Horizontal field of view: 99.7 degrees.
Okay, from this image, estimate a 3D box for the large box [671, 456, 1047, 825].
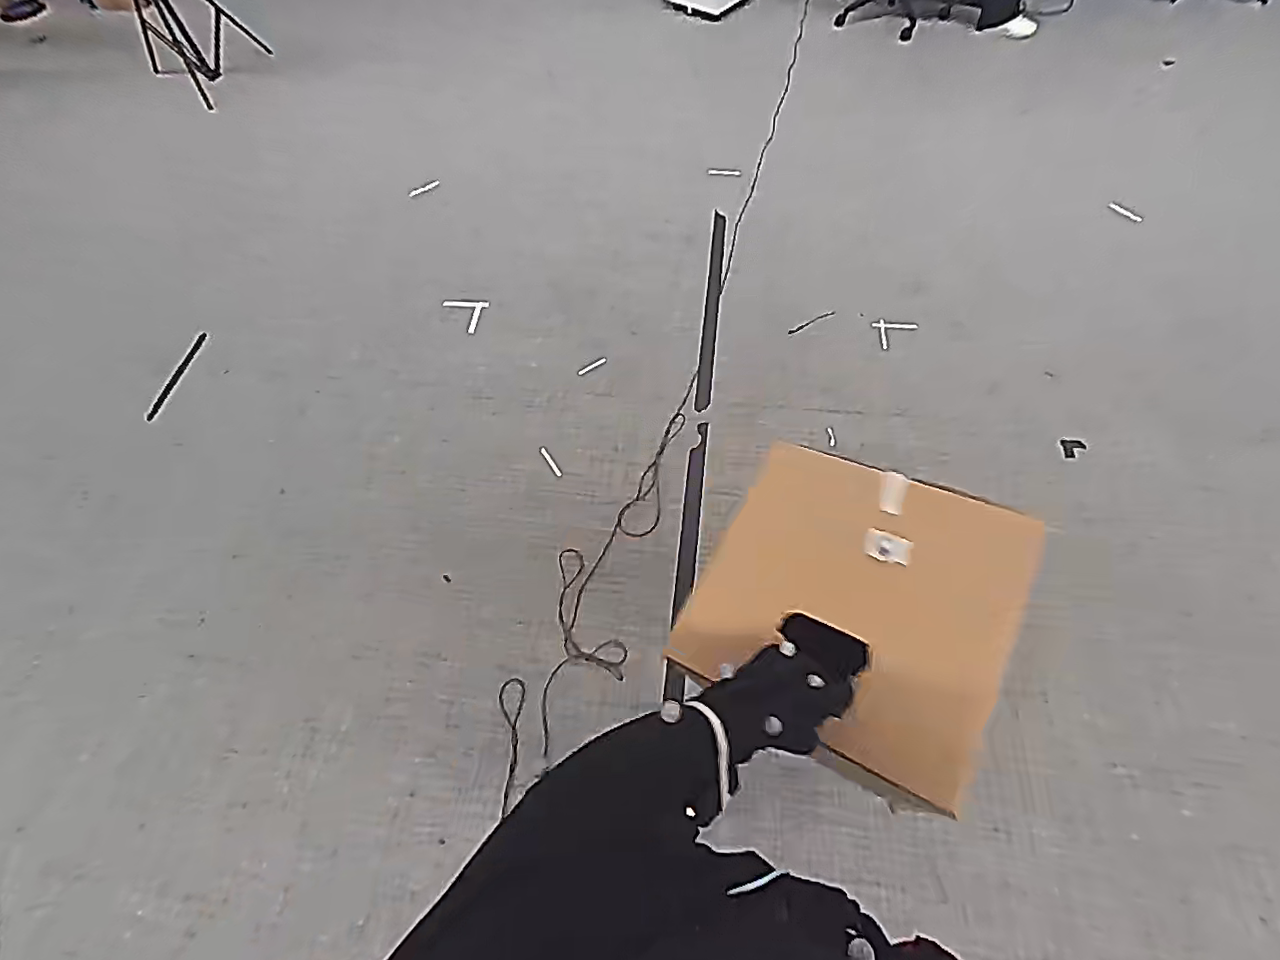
[{"bbox_3d":[0.294,0.227,0.750,0.320,0.408,0.320,24,72,31],"label":"large box"}]
